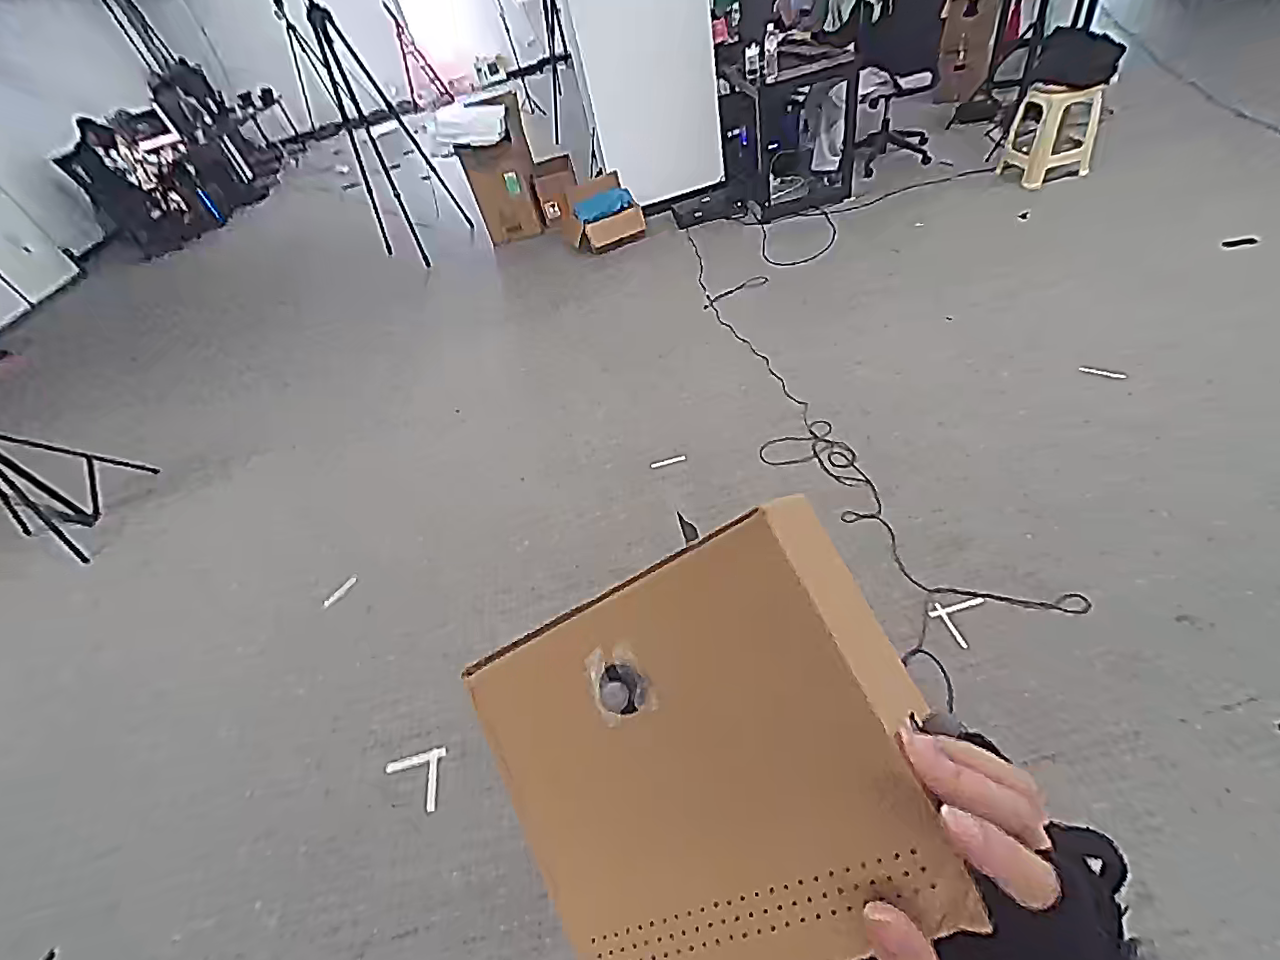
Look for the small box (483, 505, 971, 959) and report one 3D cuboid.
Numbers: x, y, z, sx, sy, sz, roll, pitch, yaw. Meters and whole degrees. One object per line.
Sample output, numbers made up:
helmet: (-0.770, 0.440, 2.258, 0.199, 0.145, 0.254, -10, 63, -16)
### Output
small box: (0.051, 0.132, 0.318, 0.179, 0.168, 0.176, -33, 79, 20)
